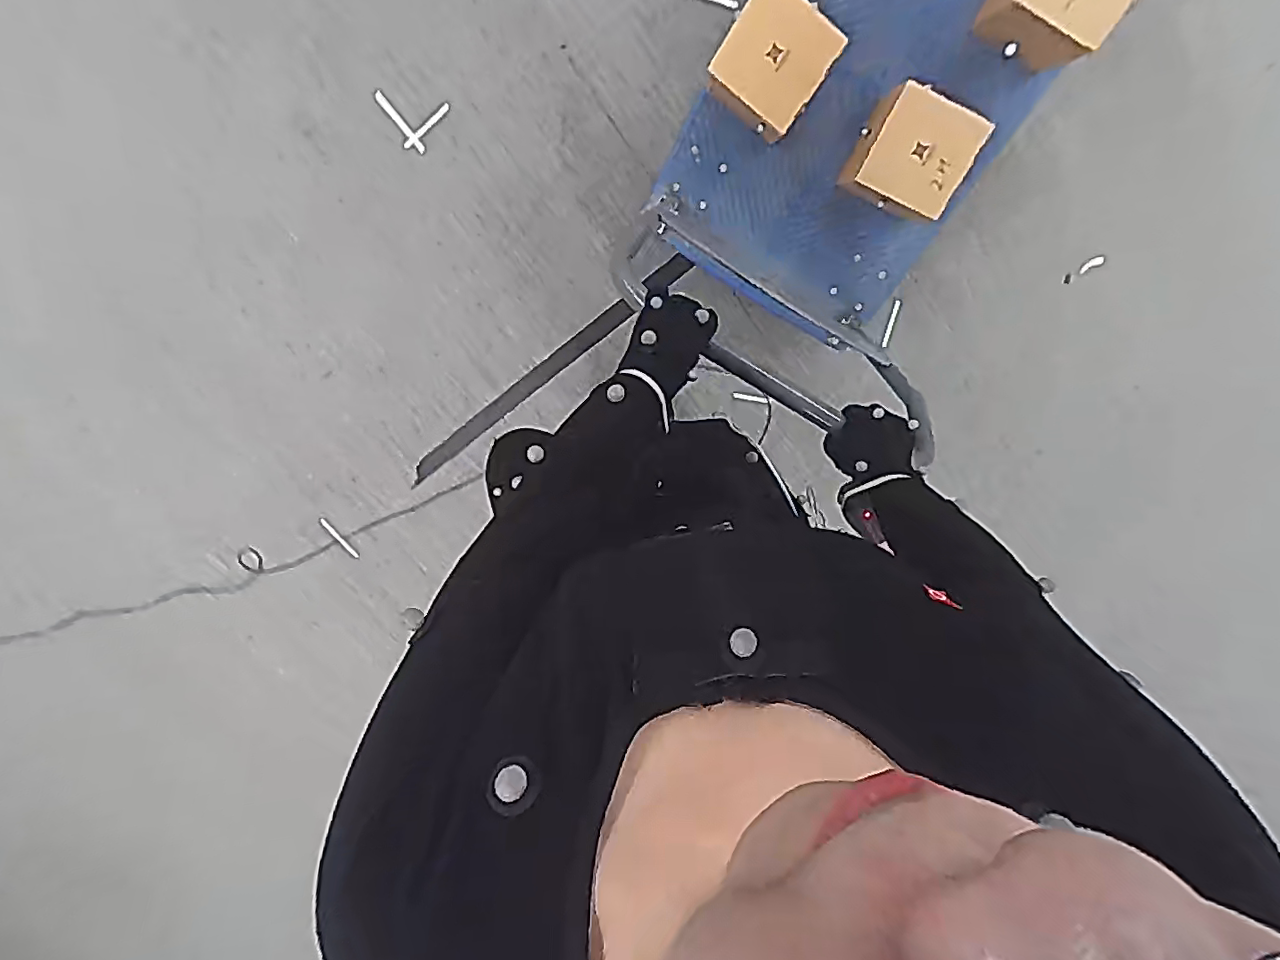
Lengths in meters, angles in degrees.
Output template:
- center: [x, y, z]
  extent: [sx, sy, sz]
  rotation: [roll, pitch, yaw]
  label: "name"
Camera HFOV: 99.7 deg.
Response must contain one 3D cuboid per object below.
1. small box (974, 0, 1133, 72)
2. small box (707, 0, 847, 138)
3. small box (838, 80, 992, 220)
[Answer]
- center: [0.707, -0.827, 0.897]
  extent: [0.168, 0.176, 0.179]
  rotation: [26, 117, -7]
  label: "small box"
- center: [0.236, -0.758, 0.986]
  extent: [0.179, 0.176, 0.168]
  rotation: [33, 115, -12]
  label: "small box"
- center: [0.505, -0.613, 1.028]
  extent: [0.179, 0.176, 0.168]
  rotation: [24, 117, -5]
  label: "small box"
